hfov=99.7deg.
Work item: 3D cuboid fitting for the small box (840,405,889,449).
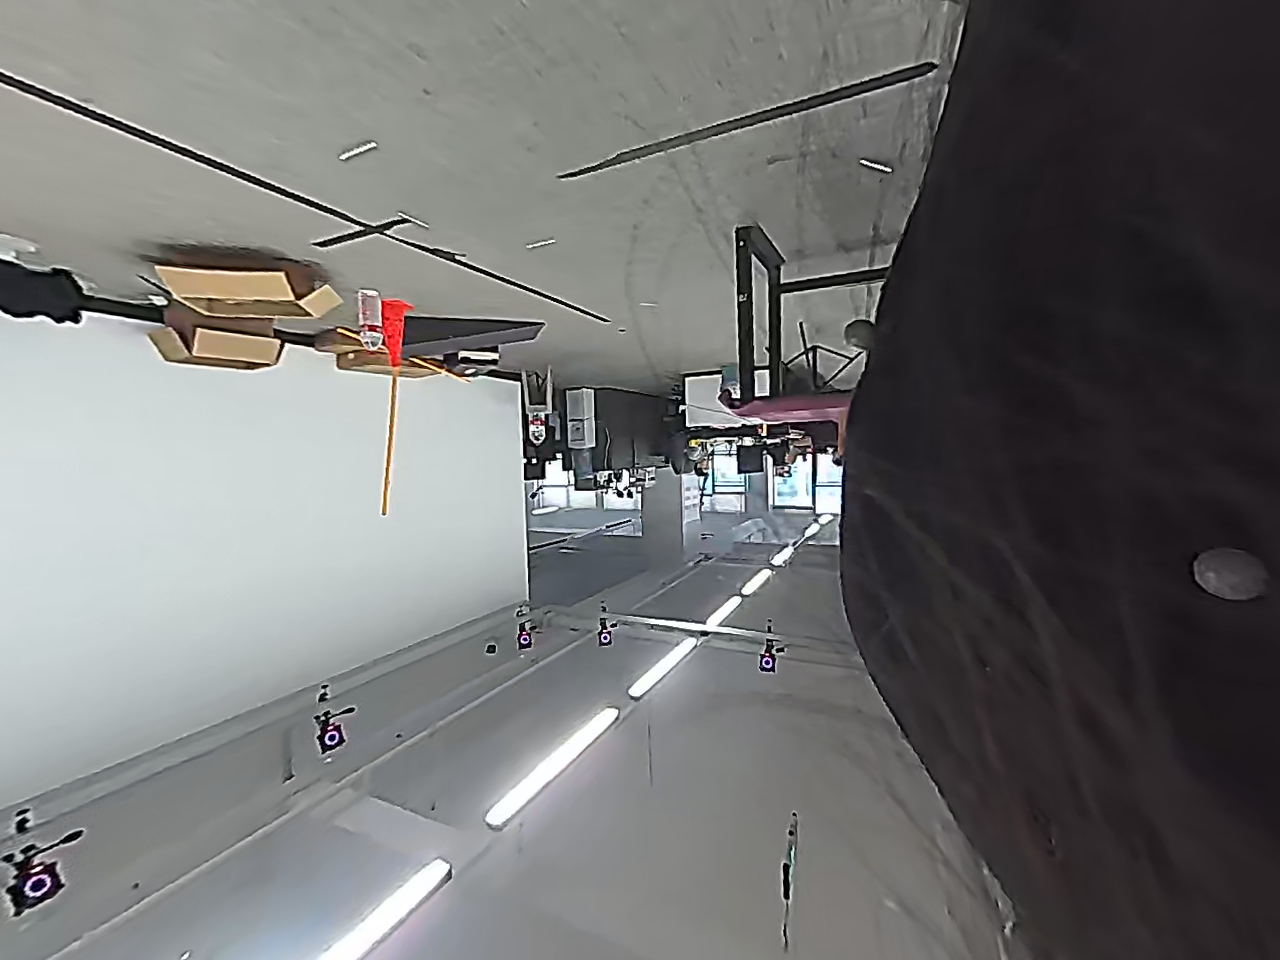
[{"bbox_3d":[0.893,-0.210,2.150,0.179,0.176,0.168,1,-177,24],"label":"small box"}]
